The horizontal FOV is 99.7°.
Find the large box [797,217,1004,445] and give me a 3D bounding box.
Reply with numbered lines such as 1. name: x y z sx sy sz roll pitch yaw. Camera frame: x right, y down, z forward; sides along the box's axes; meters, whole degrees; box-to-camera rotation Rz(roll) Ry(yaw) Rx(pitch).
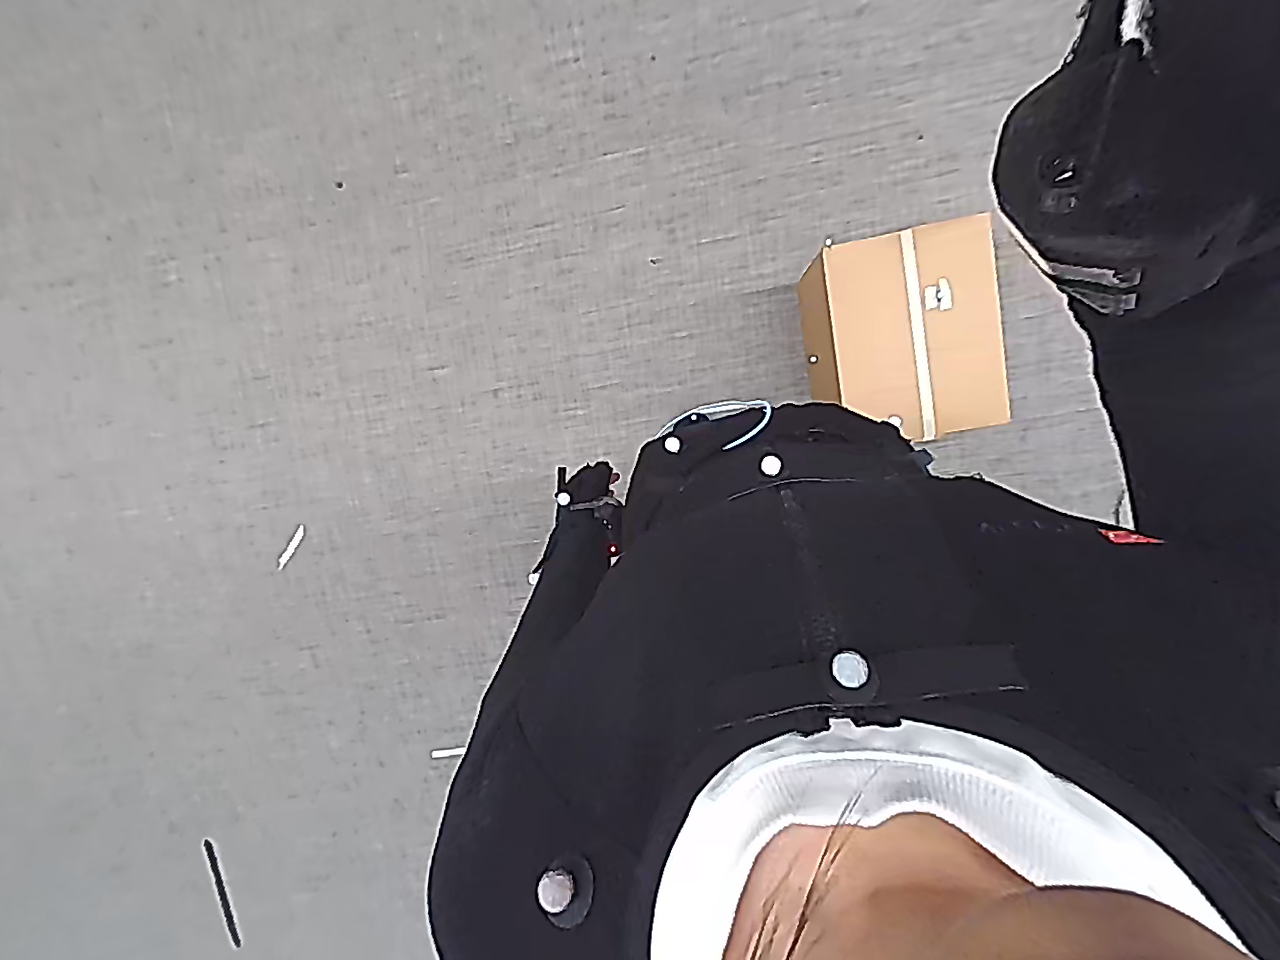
1. large box: 0.562 -0.307 1.229 0.320 0.320 0.408 -9 95 7
